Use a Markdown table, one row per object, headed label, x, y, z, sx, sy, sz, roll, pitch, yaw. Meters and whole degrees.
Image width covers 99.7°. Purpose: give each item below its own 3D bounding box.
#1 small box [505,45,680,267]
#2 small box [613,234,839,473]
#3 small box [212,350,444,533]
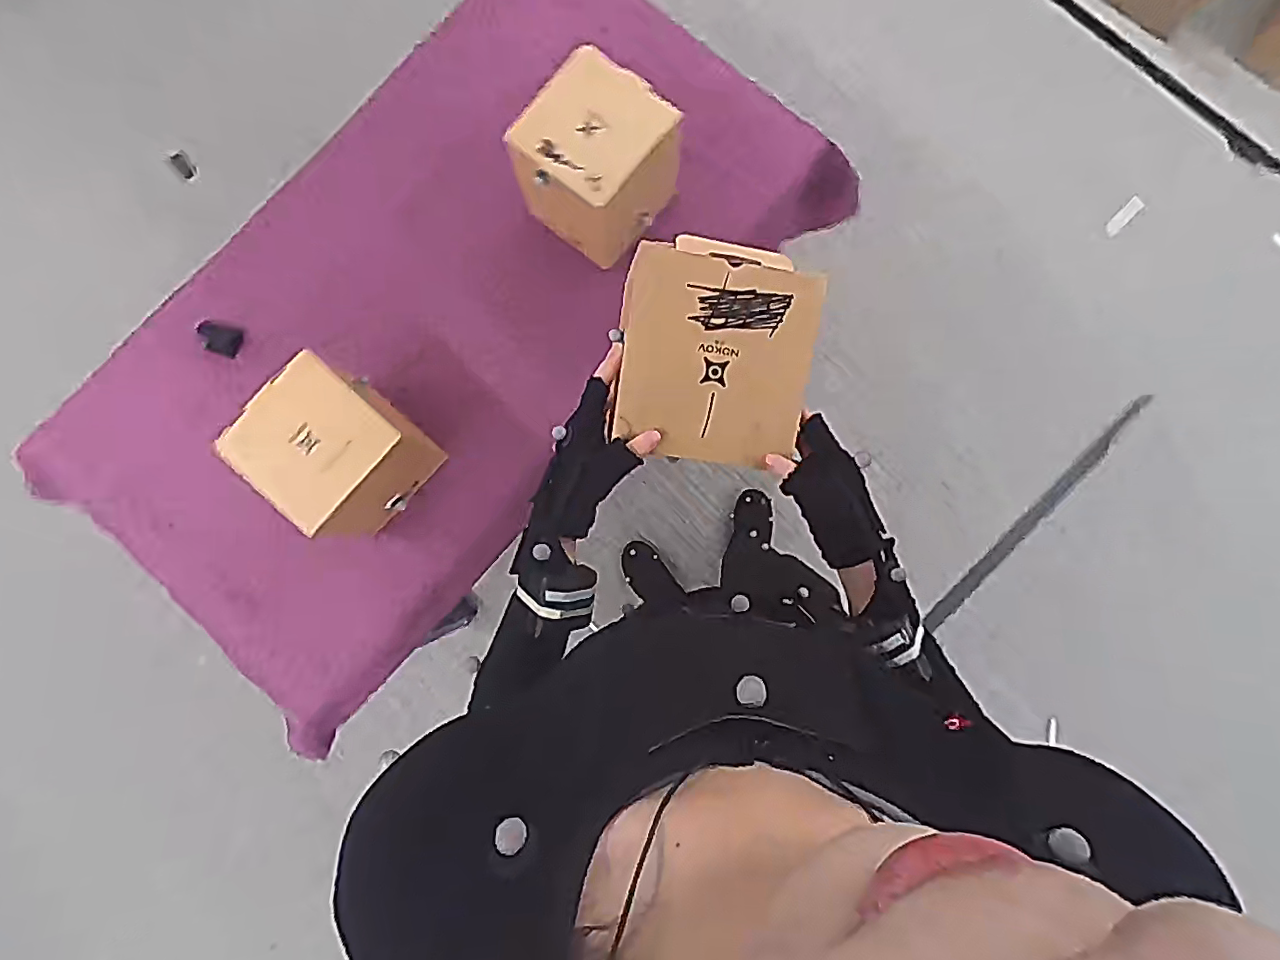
| label | x | y | z | sx | sy | sz | roll | pitch | yaw |
| --- | --- | --- | --- | --- | --- | --- | --- | --- | --- |
| small box | -0.063 | -0.456 | 0.786 | 0.168 | 0.176 | 0.179 | 39 | 85 | 5 |
| small box | 0.068 | -0.116 | 0.537 | 0.168 | 0.176 | 0.179 | 9 | 99 | -7 |
| small box | -0.408 | -0.040 | 0.740 | 0.179 | 0.176 | 0.168 | 40 | 86 | 4 |
